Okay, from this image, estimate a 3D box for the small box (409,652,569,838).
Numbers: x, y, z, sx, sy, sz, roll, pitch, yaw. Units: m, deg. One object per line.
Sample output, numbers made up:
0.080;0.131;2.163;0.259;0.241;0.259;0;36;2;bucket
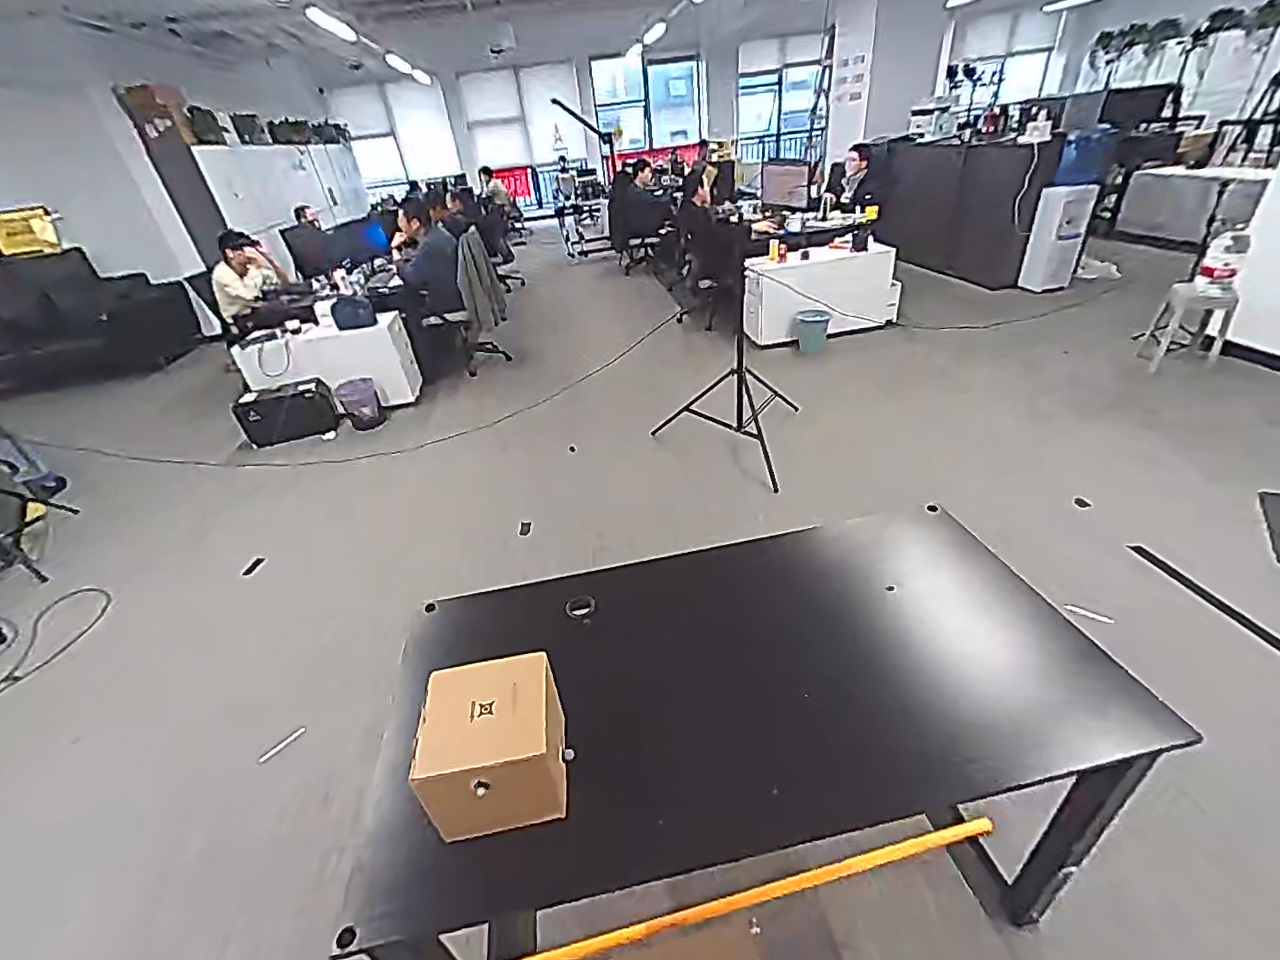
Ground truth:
-0.206;0.384;0.784;0.179;0.176;0.168;-9;34;-5;small box
